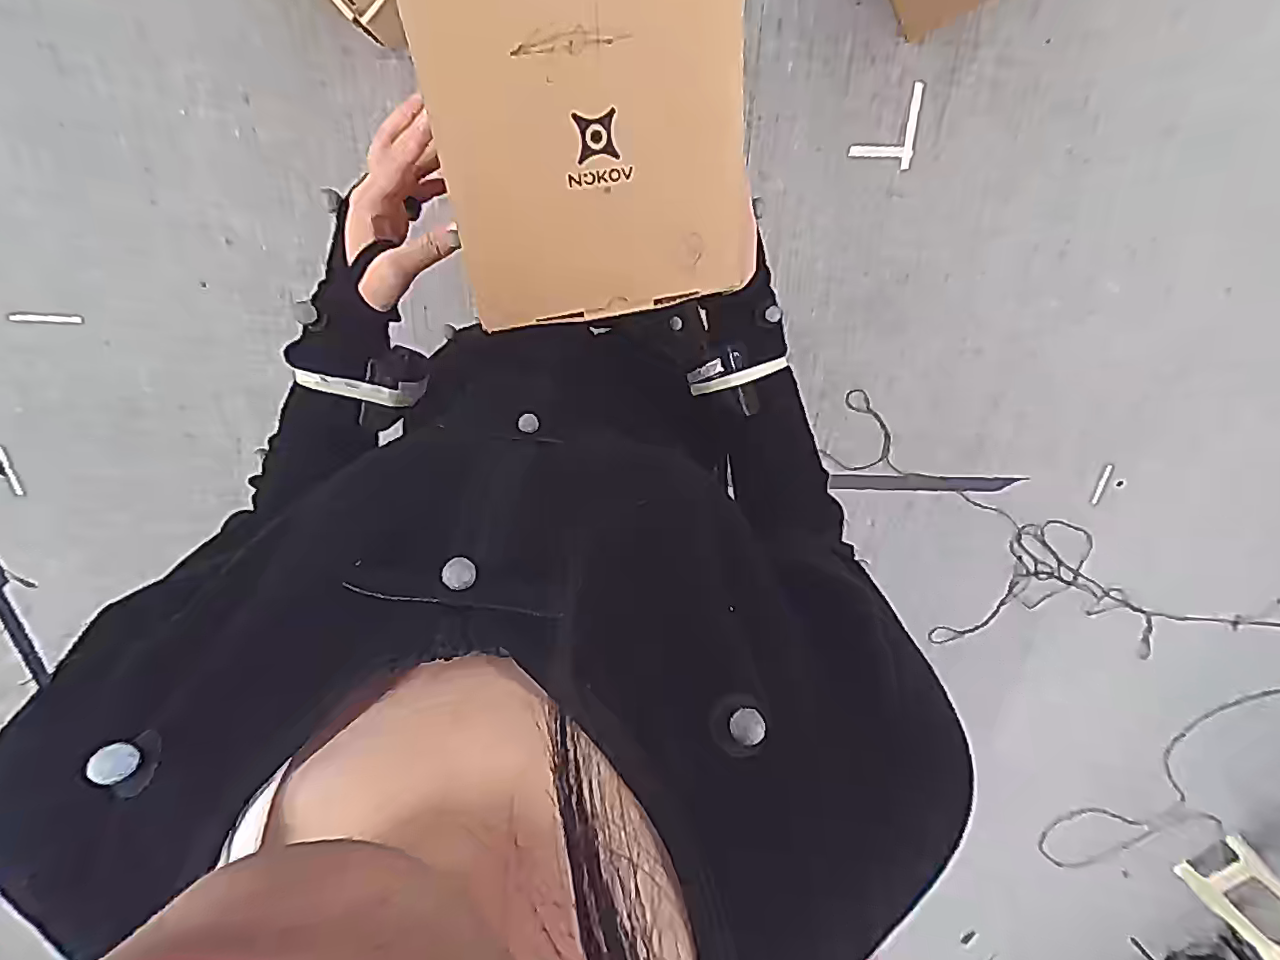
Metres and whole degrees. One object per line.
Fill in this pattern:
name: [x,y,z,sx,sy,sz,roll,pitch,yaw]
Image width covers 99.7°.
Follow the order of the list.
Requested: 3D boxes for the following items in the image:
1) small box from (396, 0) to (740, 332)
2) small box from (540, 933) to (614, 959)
small box: [-0.042,-0.219,0.357,0.168,0.176,0.179,-13,123,-8]
small box: [-0.138,1.133,1.186,0.168,0.176,0.179,0,115,-6]
